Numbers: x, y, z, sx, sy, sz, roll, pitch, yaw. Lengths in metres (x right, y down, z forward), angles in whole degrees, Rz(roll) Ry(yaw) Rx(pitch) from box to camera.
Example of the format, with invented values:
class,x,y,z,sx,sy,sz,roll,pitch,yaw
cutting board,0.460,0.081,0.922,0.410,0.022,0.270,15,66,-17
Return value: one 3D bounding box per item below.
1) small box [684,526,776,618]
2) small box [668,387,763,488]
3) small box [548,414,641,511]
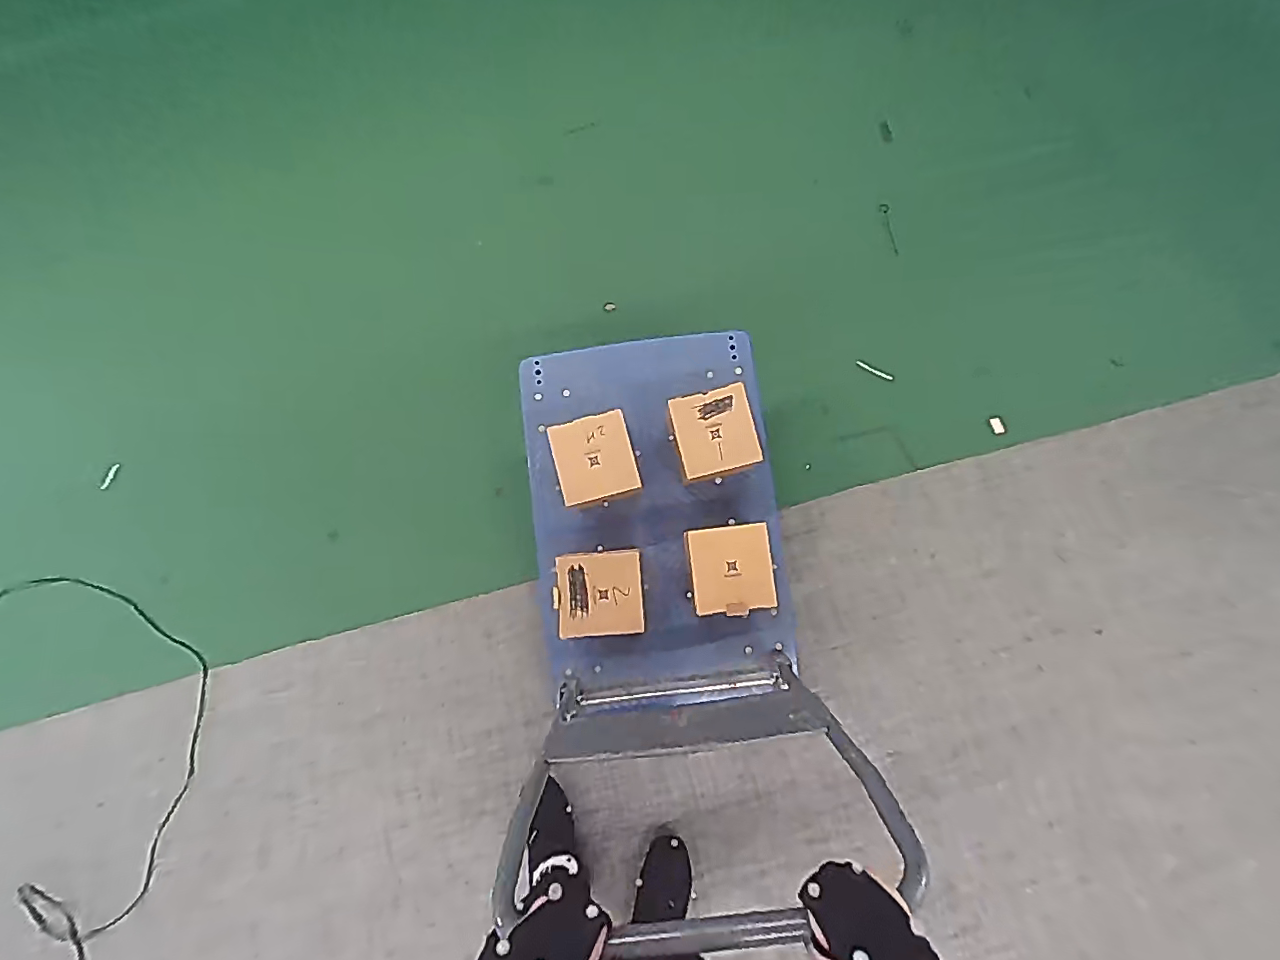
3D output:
class,x,y,z,sx,sy,sz,roll,pitch,yaw
small box,0.189,0.197,1.186,0.168,0.176,0.179,-7,85,1
small box,0.160,-0.088,1.213,0.168,0.176,0.179,-14,85,0
small box,-0.094,-0.032,1.213,0.168,0.176,0.179,-14,84,-1
